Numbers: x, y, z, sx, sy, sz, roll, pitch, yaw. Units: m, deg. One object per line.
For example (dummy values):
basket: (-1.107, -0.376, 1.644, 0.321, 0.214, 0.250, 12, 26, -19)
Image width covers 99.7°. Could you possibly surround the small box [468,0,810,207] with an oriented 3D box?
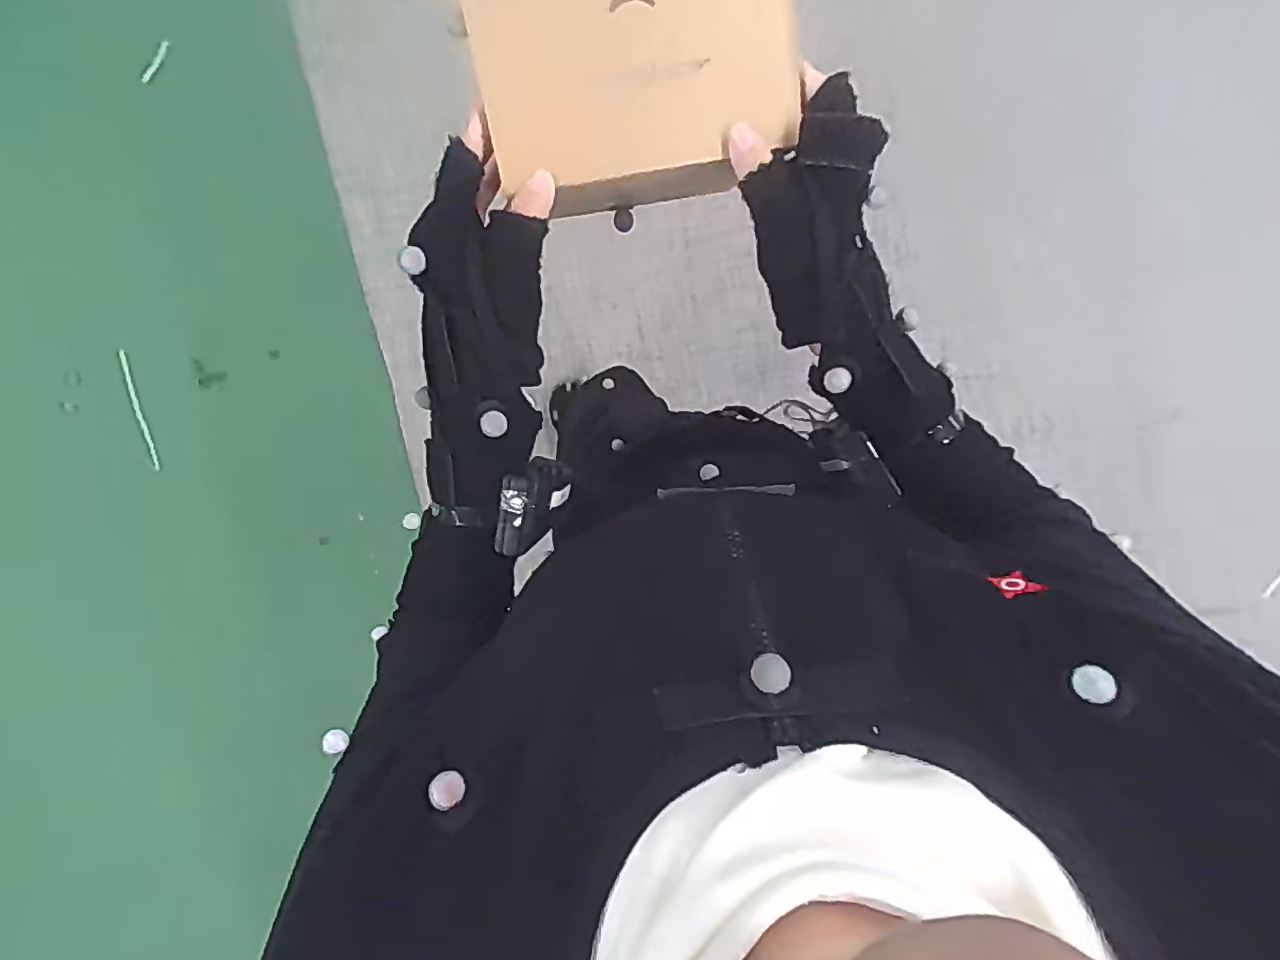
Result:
small box: (-0.010, -0.279, 0.324, 0.168, 0.176, 0.179, -9, 111, -1)
